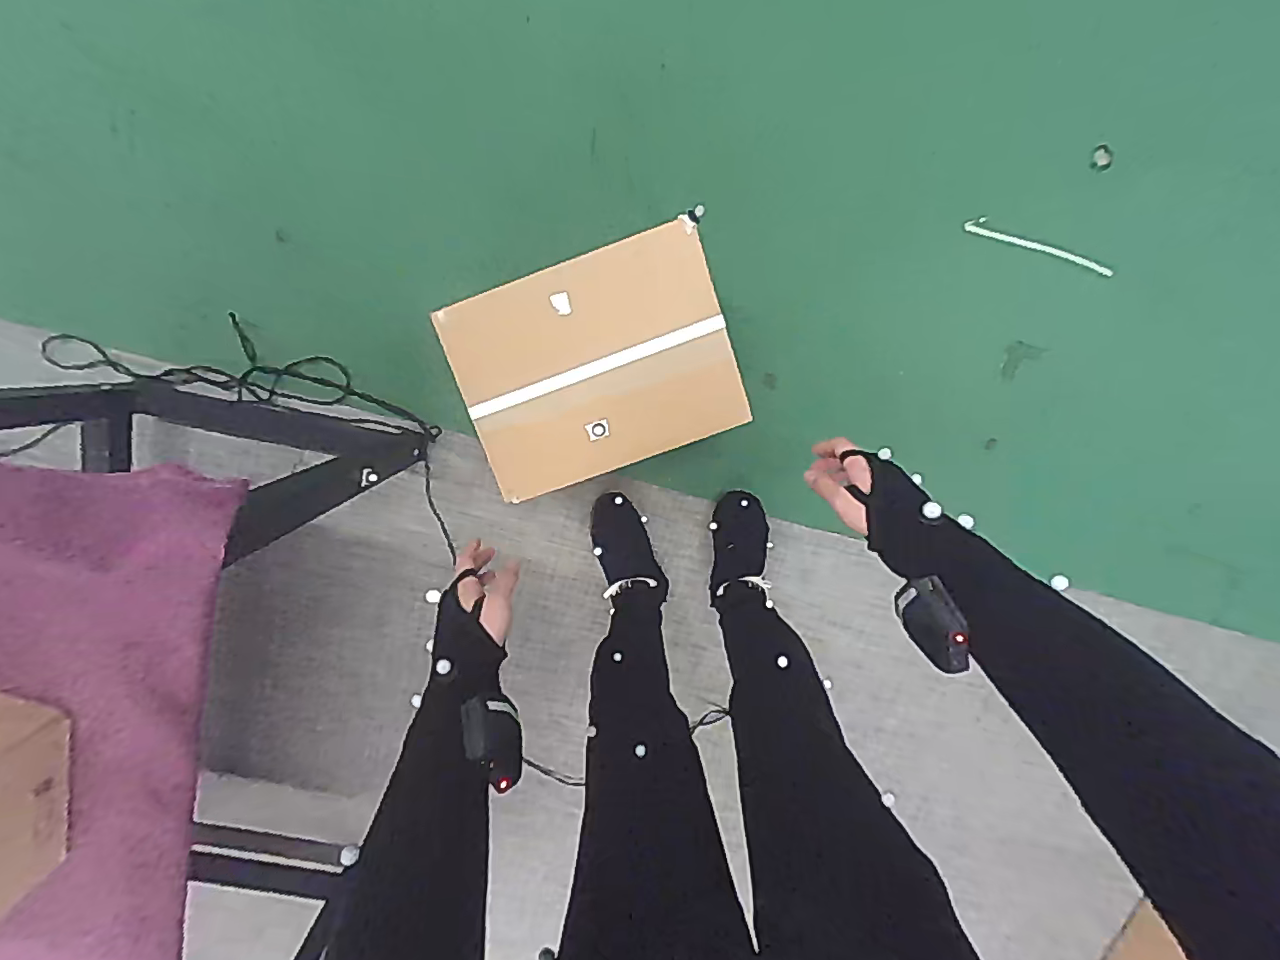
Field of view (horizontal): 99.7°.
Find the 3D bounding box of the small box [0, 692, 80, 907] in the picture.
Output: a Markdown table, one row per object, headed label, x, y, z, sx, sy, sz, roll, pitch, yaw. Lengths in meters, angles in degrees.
| label | x | y | z | sx | sy | sz | roll | pitch | yaw |
| --- | --- | --- | --- | --- | --- | --- | --- | --- | --- |
| small box | -0.567 | 0.256 | 0.378 | 0.179 | 0.176 | 0.168 | 17 | 104 | -2 |
